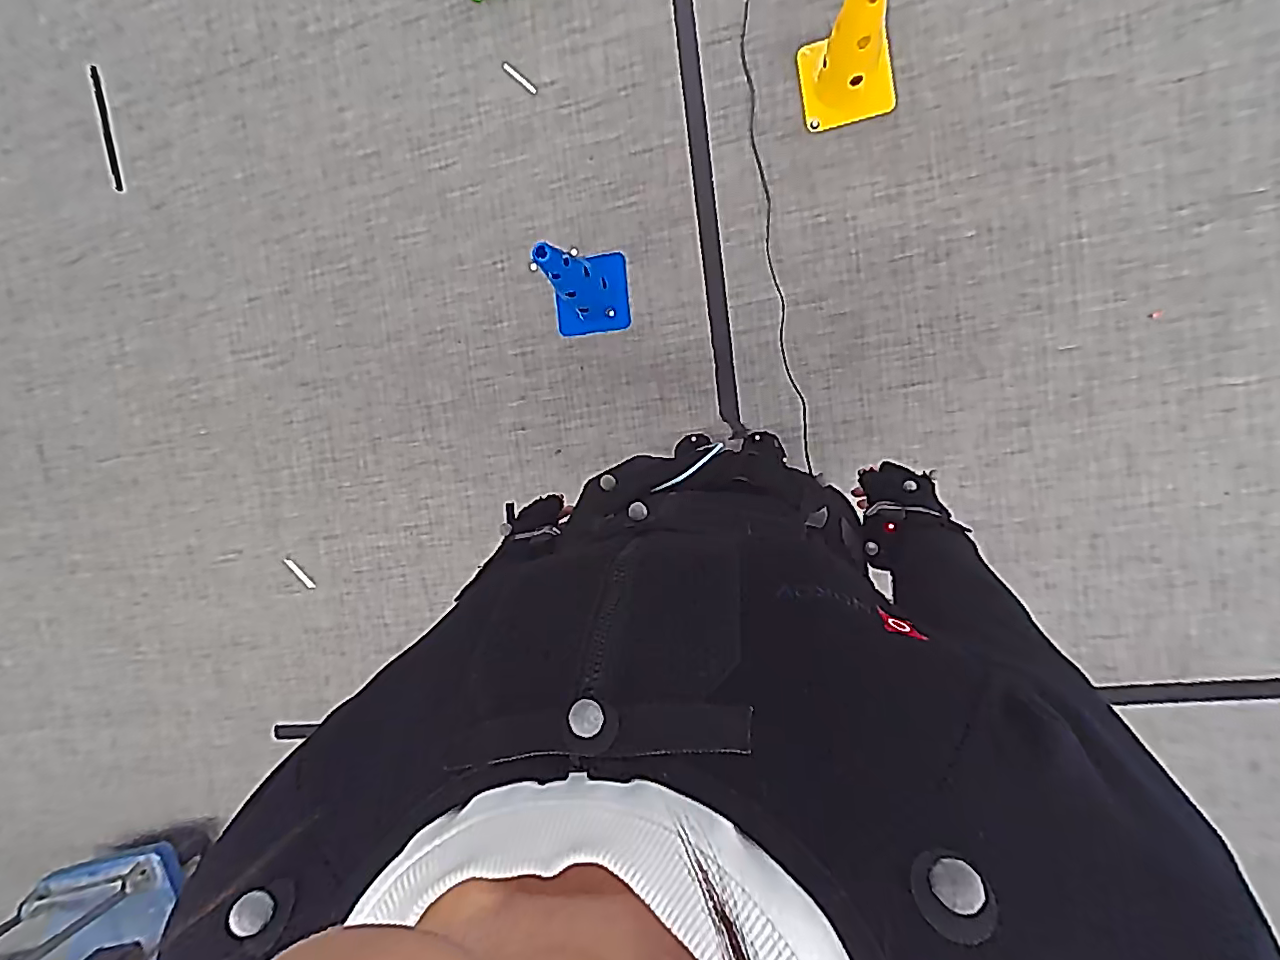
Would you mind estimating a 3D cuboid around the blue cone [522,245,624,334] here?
[{"bbox_3d":[-0.174,-0.479,1.279,0.192,0.380,0.193,-3,94,13],"label":"blue cone"}]
